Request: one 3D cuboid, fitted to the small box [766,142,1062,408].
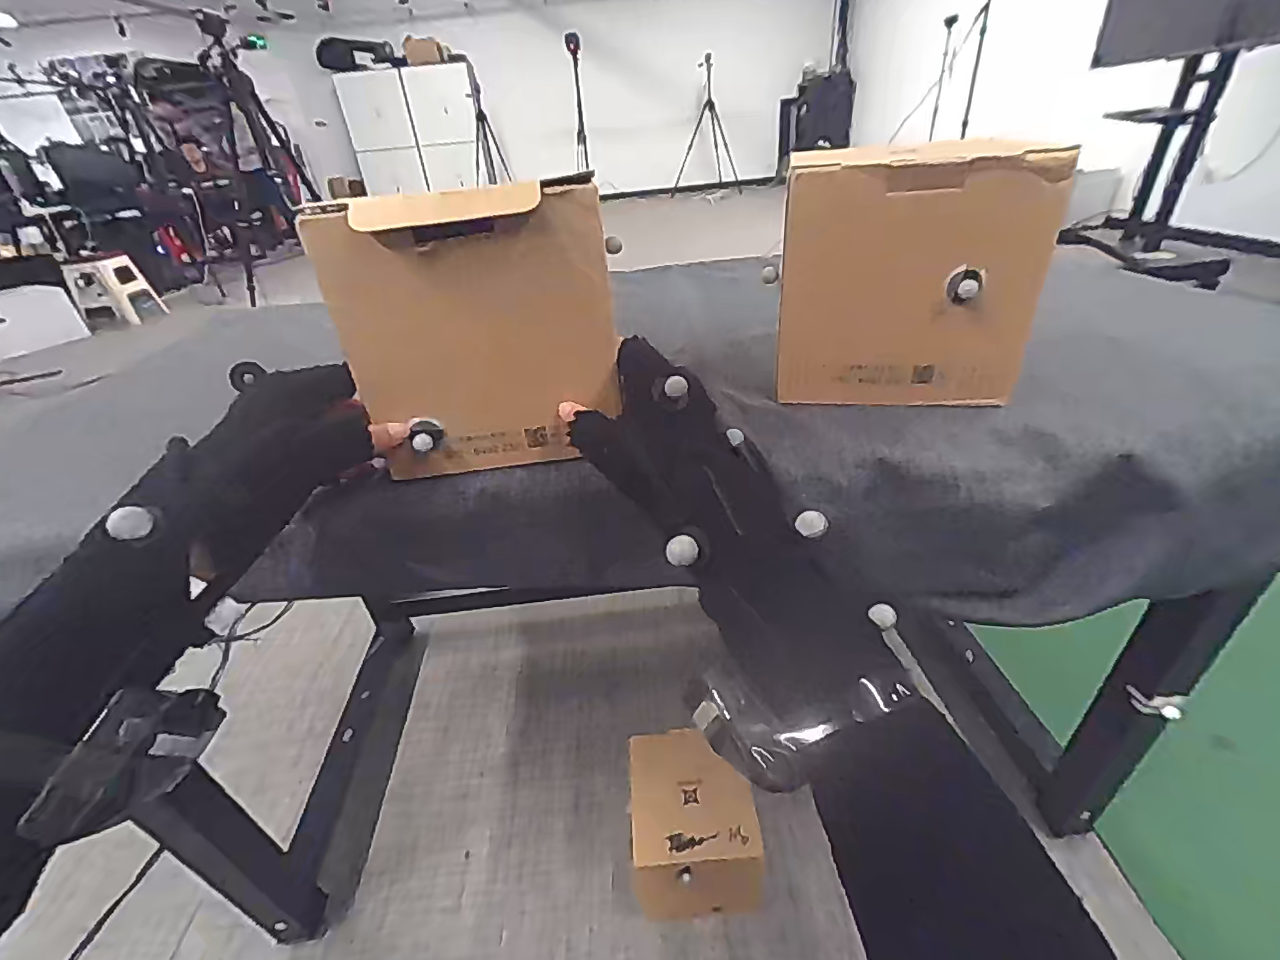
[{"bbox_3d":[0.193,-0.167,0.442,0.168,0.176,0.179,4,33,13],"label":"small box"}]

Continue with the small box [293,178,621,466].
[{"bbox_3d":[-0.108,-0.119,0.406,0.168,0.176,0.179,-8,30,-2],"label":"small box"}]

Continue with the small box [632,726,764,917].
[{"bbox_3d":[0.077,0.491,0.786,0.168,0.176,0.179,-6,31,1],"label":"small box"}]
